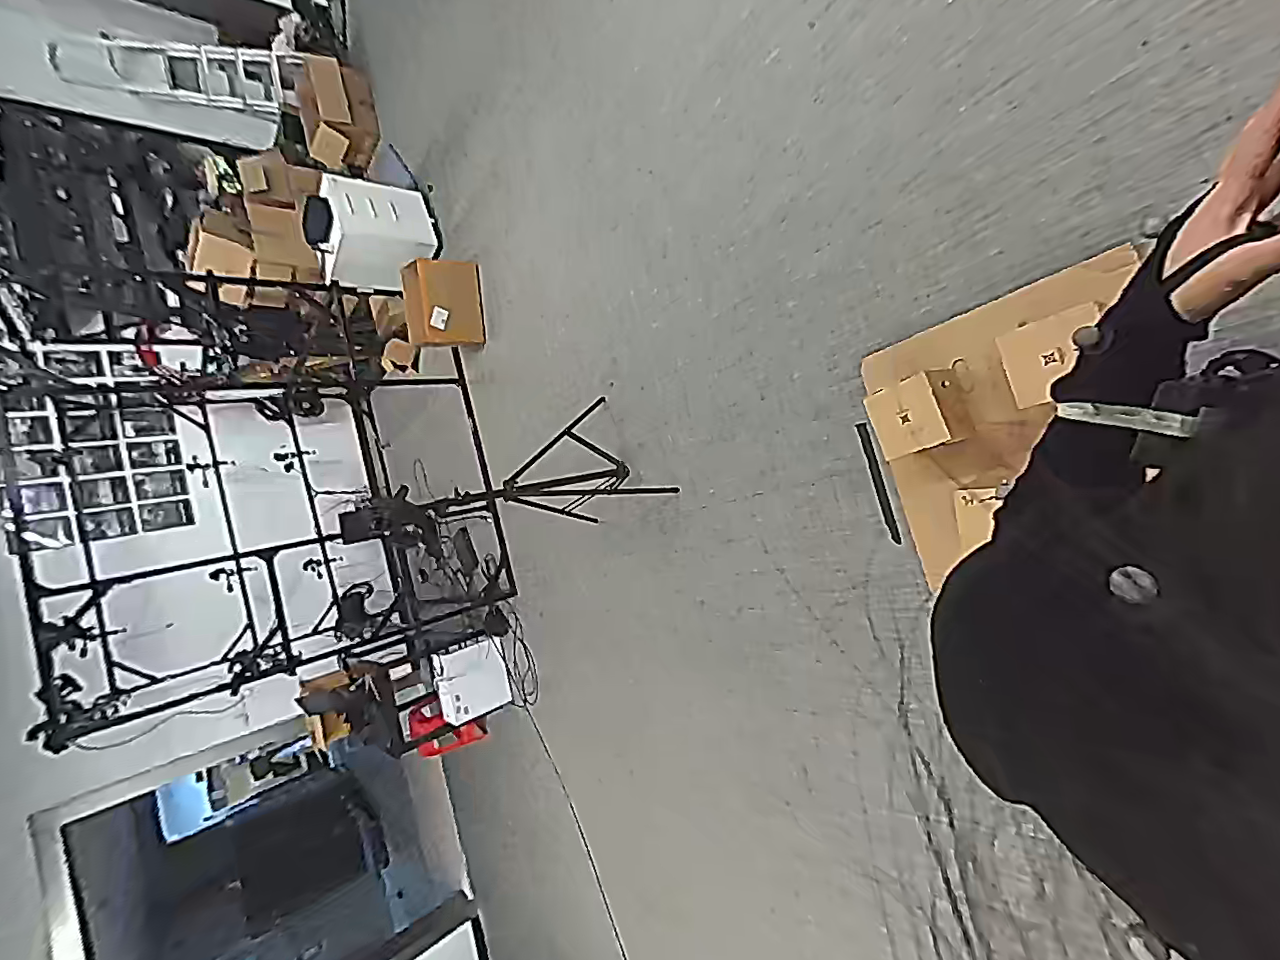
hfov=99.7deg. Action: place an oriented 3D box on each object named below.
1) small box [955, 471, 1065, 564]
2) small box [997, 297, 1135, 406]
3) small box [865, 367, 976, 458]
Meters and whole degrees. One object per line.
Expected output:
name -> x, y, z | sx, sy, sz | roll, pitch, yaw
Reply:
small box -> 0.857, 0.084, 1.248 | 0.168, 0.176, 0.179 | -7, 96, 49
small box -> 0.890, -0.262, 1.130 | 0.179, 0.176, 0.168 | -19, 85, 48
small box -> 0.708, -0.170, 1.363 | 0.168, 0.176, 0.179 | -28, 78, 50
